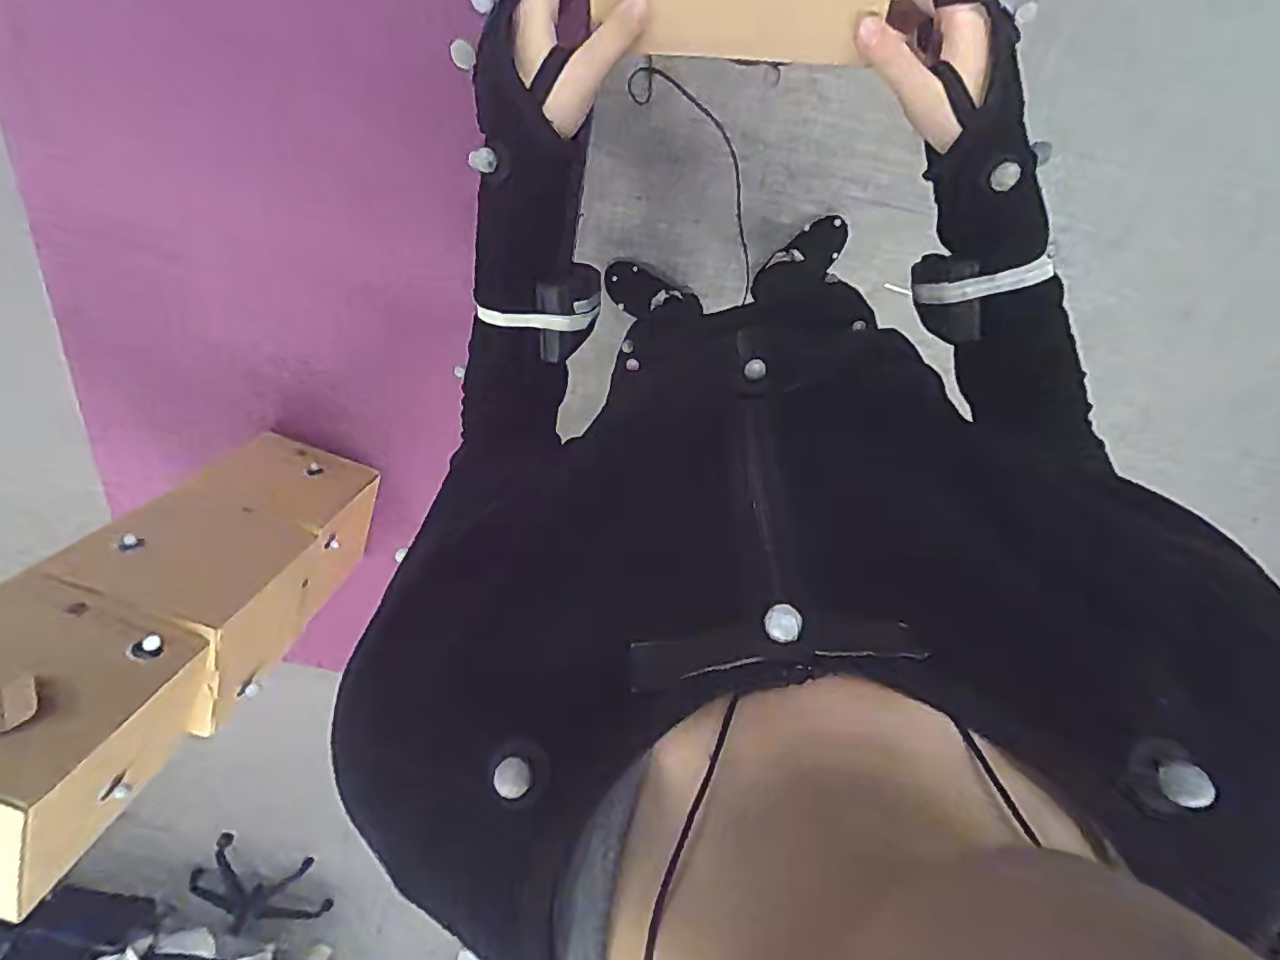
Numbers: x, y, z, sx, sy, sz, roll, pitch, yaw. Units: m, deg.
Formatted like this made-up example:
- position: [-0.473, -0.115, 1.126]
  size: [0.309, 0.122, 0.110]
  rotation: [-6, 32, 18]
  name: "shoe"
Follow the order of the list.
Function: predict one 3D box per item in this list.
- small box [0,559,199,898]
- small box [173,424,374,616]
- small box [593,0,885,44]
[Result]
- position: [-0.528, 0.199, 0.461]
  size: [0.168, 0.176, 0.179]
  rotation: [28, 114, -10]
  name: "small box"
- position: [-0.497, 0.049, 0.753]
  size: [0.168, 0.176, 0.179]
  rotation: [21, 114, -8]
  name: "small box"
- position: [0.060, -0.386, 0.337]
  size: [0.179, 0.176, 0.168]
  rotation: [1, 128, -5]
  name: "small box"
